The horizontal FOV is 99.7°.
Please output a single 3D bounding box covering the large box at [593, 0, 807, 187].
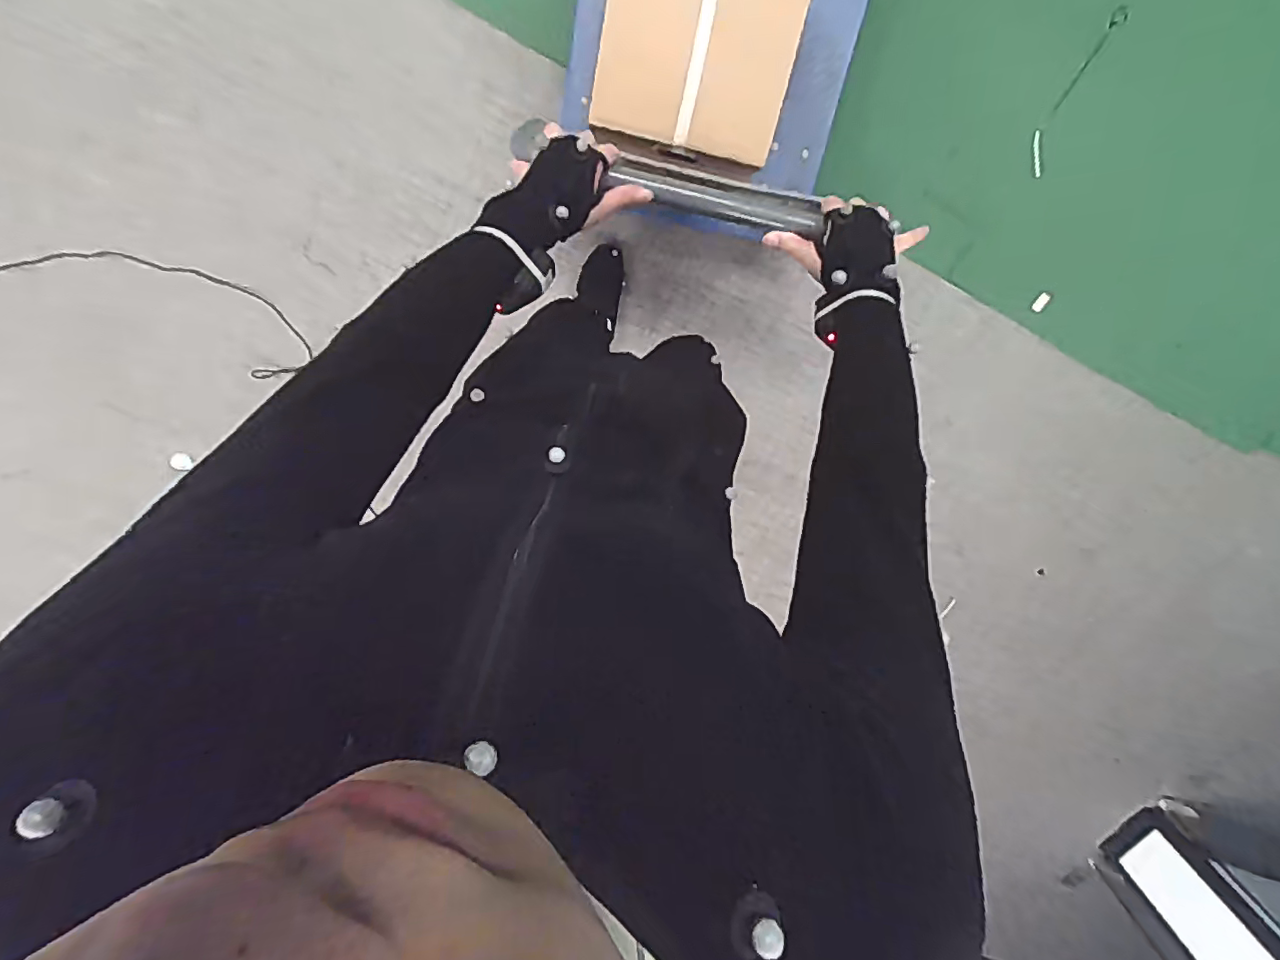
[{"bbox_3d":[0.107,-0.806,0.991,0.320,0.320,0.408,11,111,-5],"label":"large box"}]
